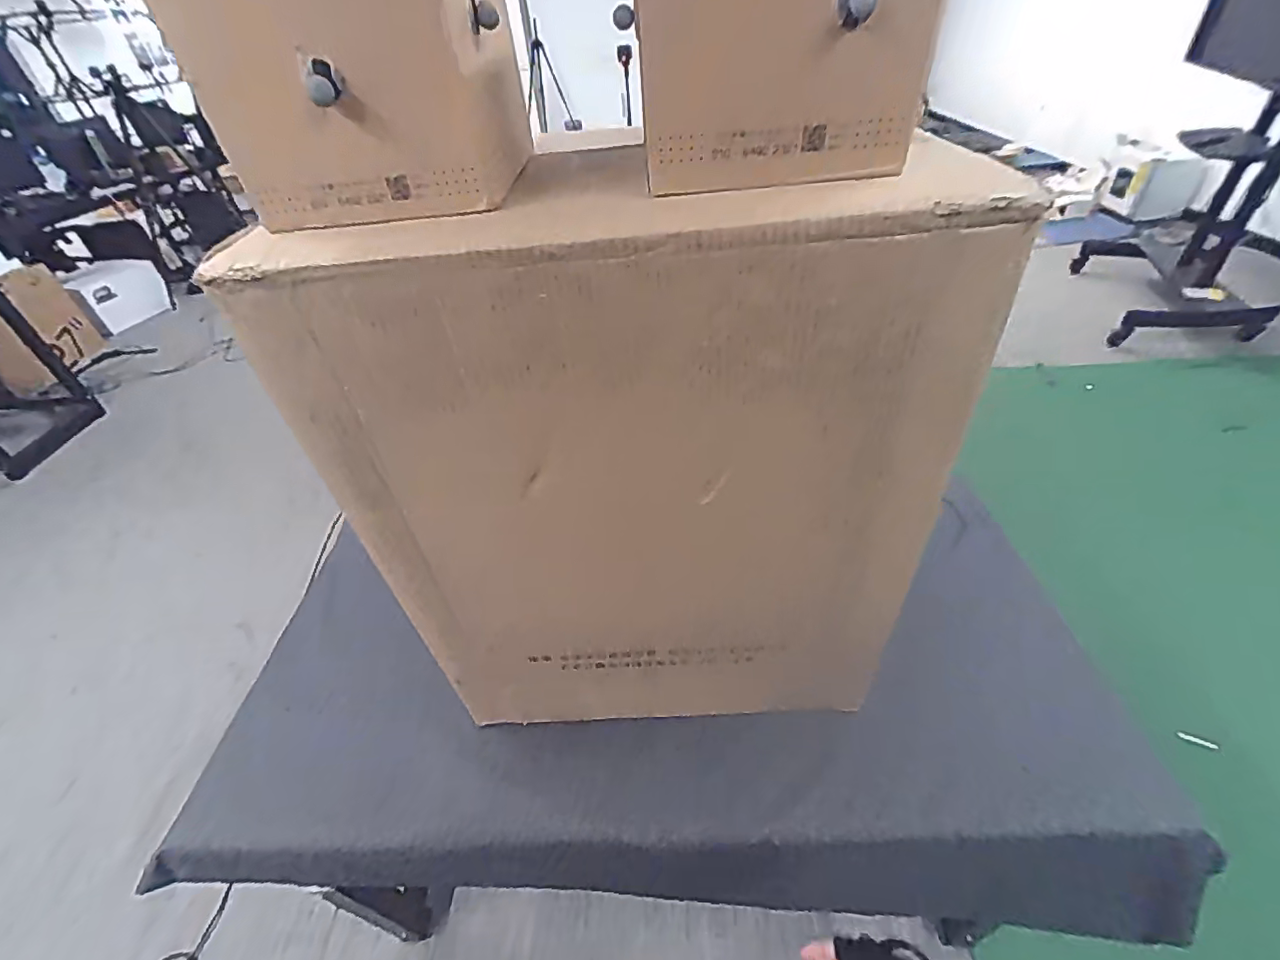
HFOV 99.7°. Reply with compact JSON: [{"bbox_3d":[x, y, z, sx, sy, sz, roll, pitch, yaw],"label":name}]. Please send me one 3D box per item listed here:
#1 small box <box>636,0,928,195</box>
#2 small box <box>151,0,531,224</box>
[{"bbox_3d":[0.082,-0.303,0.366,0.168,0.176,0.179,-2,42,1],"label":"small box"},{"bbox_3d":[-0.182,-0.292,0.380,0.168,0.176,0.179,-3,44,3],"label":"small box"}]
